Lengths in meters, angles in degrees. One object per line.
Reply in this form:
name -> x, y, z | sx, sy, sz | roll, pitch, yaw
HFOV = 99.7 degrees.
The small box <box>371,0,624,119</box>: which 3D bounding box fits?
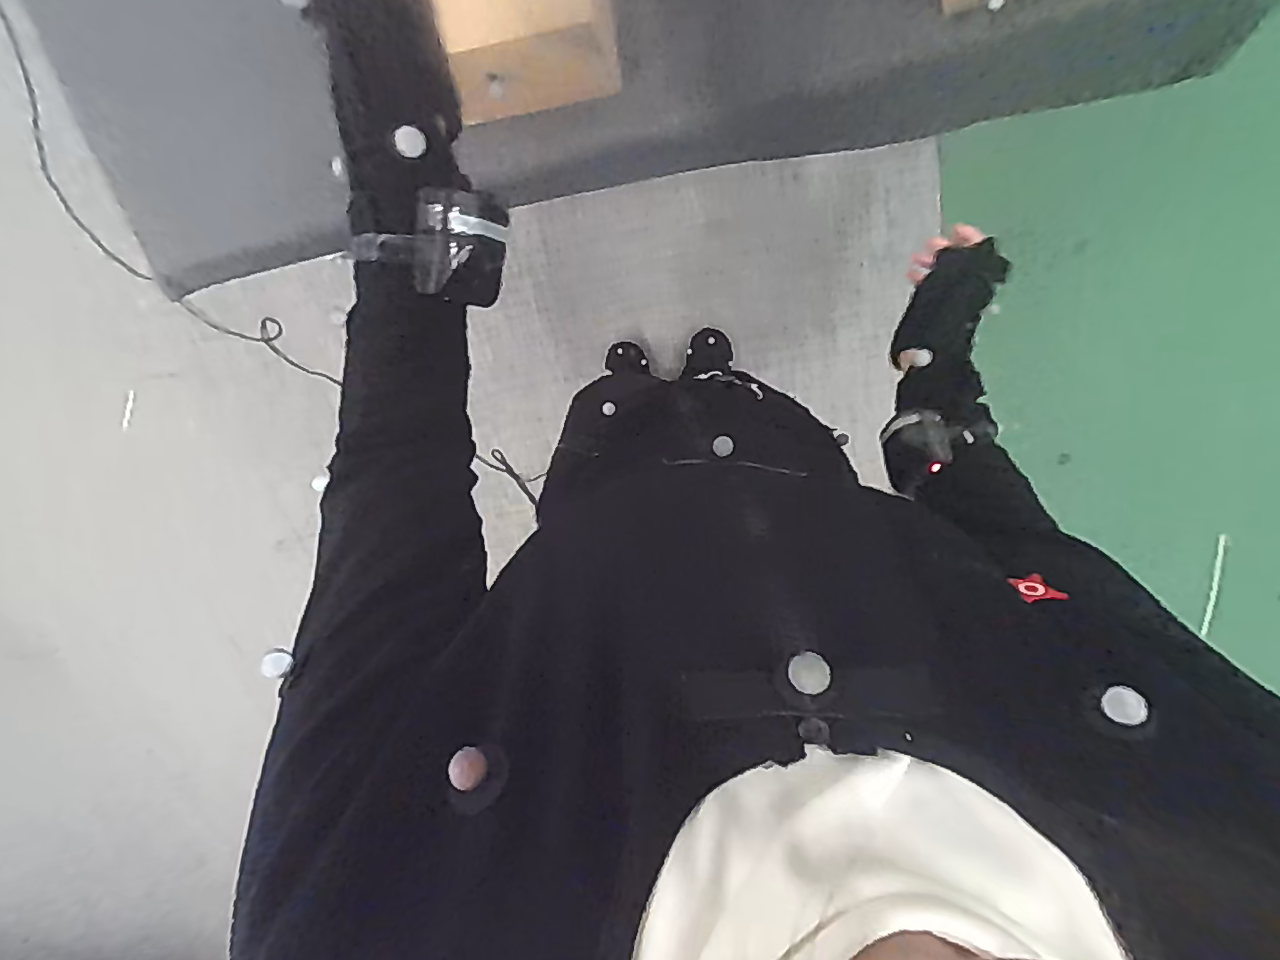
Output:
small box -> -0.121, -0.442, 0.471 | 0.179, 0.176, 0.168 | -6, 109, 9
